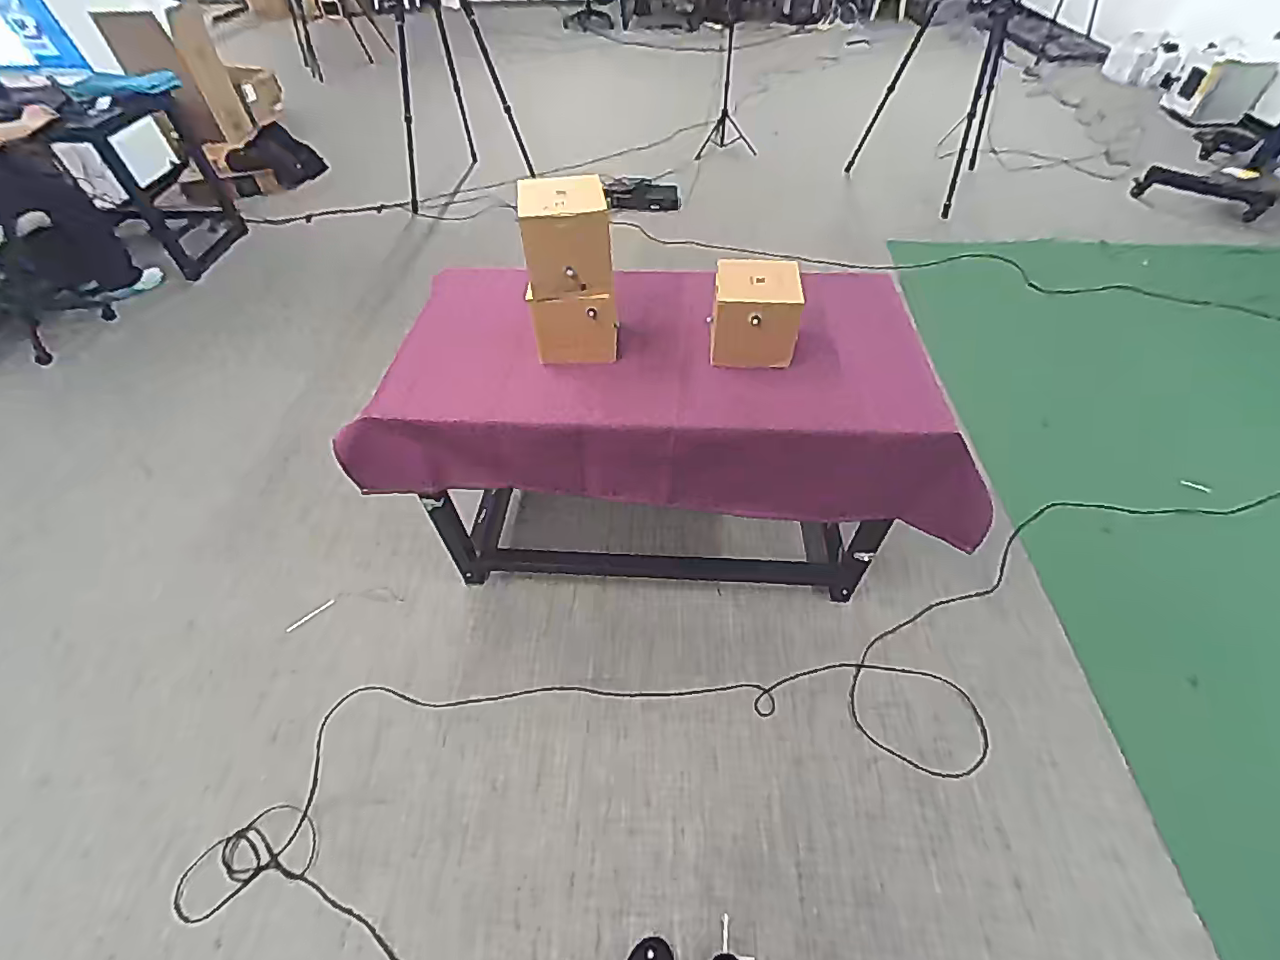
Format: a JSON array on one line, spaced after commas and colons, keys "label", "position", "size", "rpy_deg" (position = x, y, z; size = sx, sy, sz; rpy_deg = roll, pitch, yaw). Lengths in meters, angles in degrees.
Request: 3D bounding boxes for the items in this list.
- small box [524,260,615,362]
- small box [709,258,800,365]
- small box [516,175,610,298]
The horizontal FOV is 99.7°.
[{"label": "small box", "position": [-0.151, -0.379, 1.219], "size": [0.179, 0.176, 0.168], "rpy_deg": [-1, 50, 0]}, {"label": "small box", "position": [0.245, -0.369, 1.193], "size": [0.179, 0.176, 0.168], "rpy_deg": [3, 51, 4]}, {"label": "small box", "position": [-0.155, -0.495, 1.100], "size": [0.168, 0.176, 0.179], "rpy_deg": [-8, 50, -4]}]
